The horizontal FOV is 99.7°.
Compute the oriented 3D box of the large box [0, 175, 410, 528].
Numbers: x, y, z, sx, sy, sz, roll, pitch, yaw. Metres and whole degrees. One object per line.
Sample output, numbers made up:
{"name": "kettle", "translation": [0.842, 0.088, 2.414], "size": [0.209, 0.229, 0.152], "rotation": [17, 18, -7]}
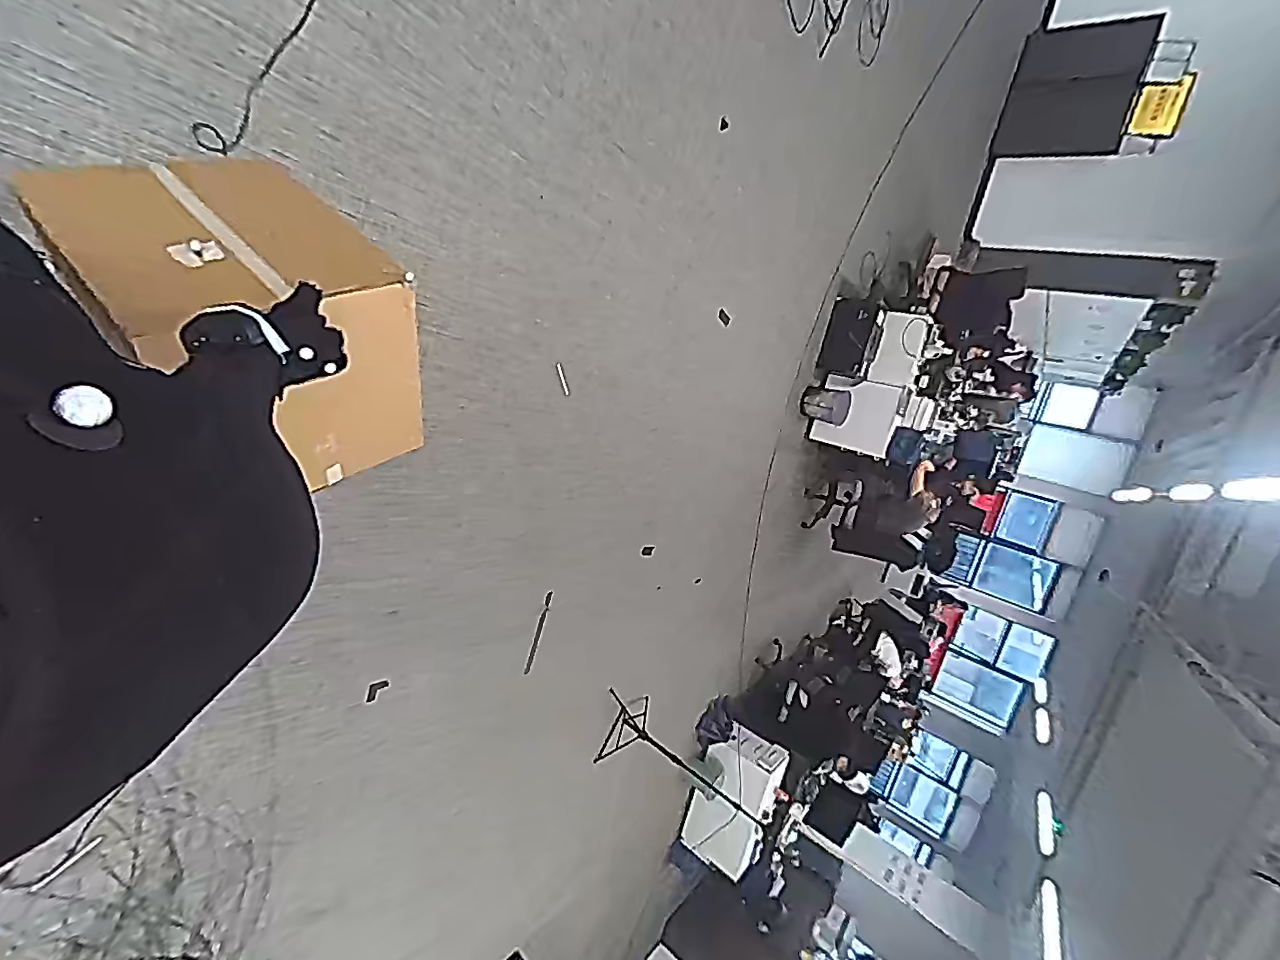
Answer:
{"name": "large box", "translation": [-0.601, -0.208, 0.813], "size": [0.320, 0.408, 0.320], "rotation": [-33, 155, -39]}
